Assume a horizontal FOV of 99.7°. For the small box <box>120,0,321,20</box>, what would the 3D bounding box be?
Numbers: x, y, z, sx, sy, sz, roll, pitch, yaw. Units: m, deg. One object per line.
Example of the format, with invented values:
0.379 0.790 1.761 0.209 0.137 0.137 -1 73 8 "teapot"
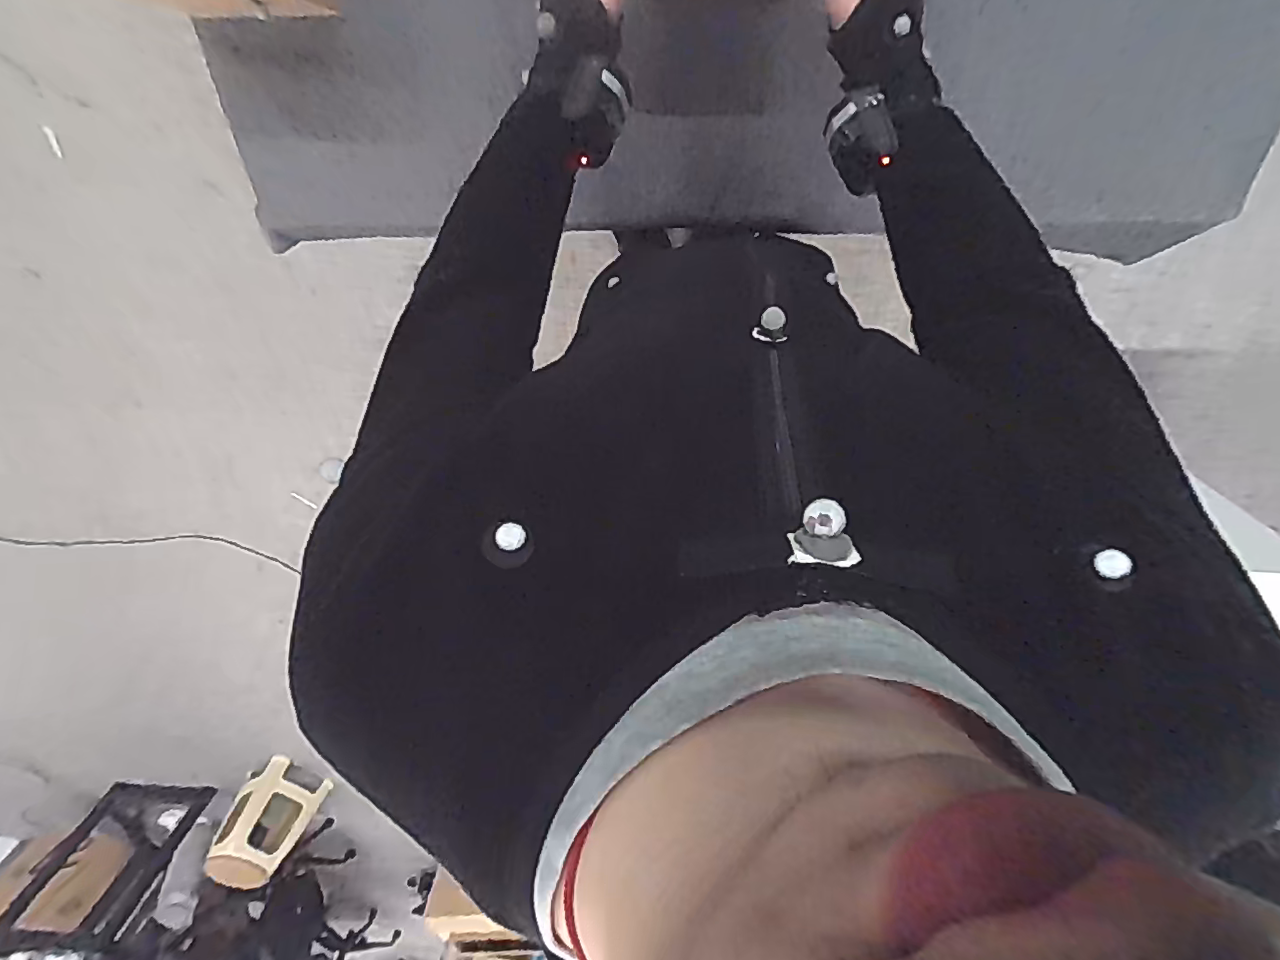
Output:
-0.402 -0.515 0.459 0.179 0.176 0.168 0 120 2 "small box"
